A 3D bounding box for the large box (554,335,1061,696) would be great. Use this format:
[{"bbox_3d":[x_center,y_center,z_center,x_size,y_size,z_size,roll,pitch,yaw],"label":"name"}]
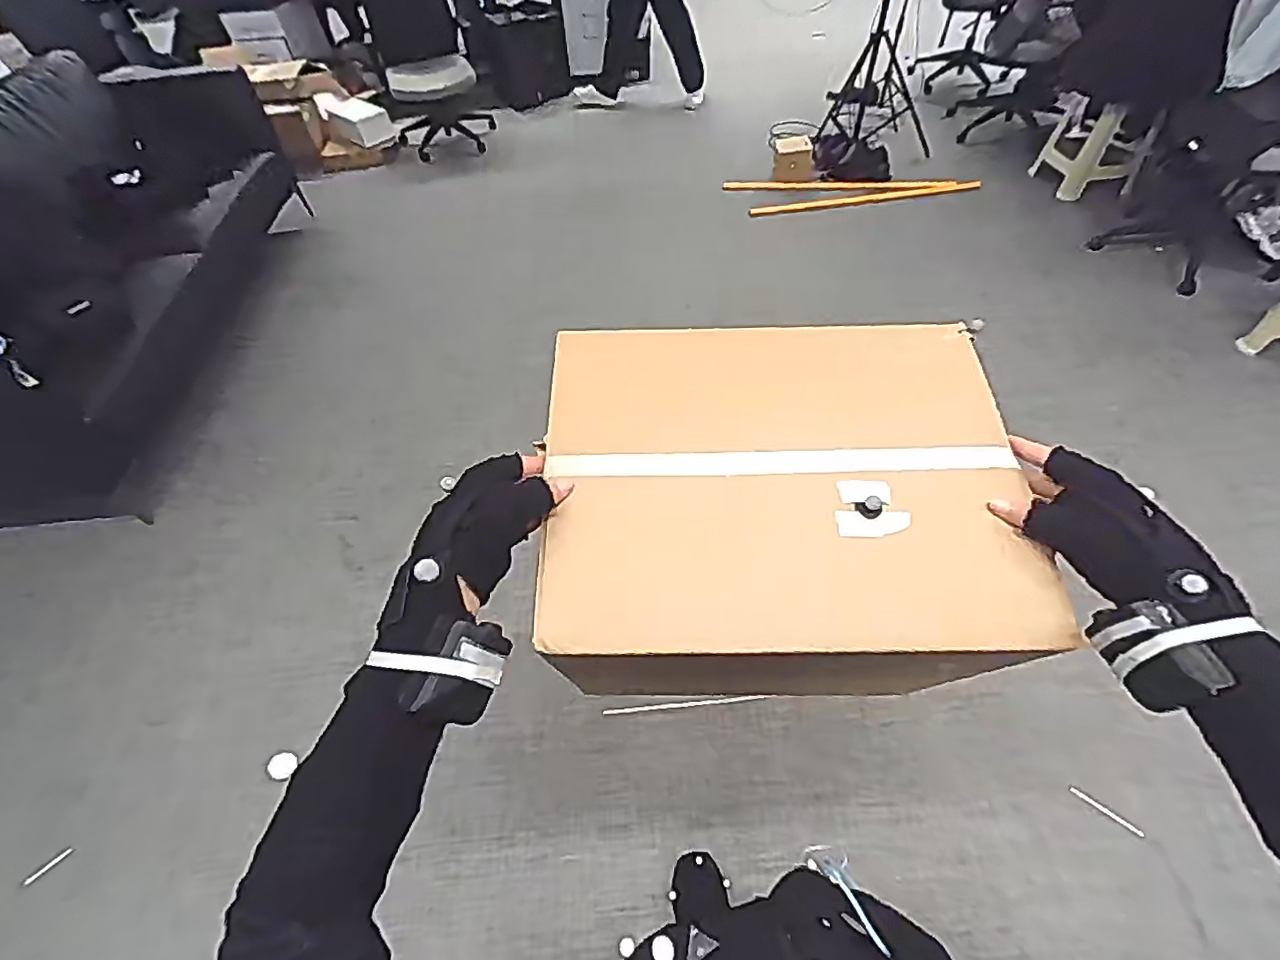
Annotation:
[{"bbox_3d":[0.126,0.060,0.616,0.408,0.320,0.320,-1,63,0],"label":"large box"}]
